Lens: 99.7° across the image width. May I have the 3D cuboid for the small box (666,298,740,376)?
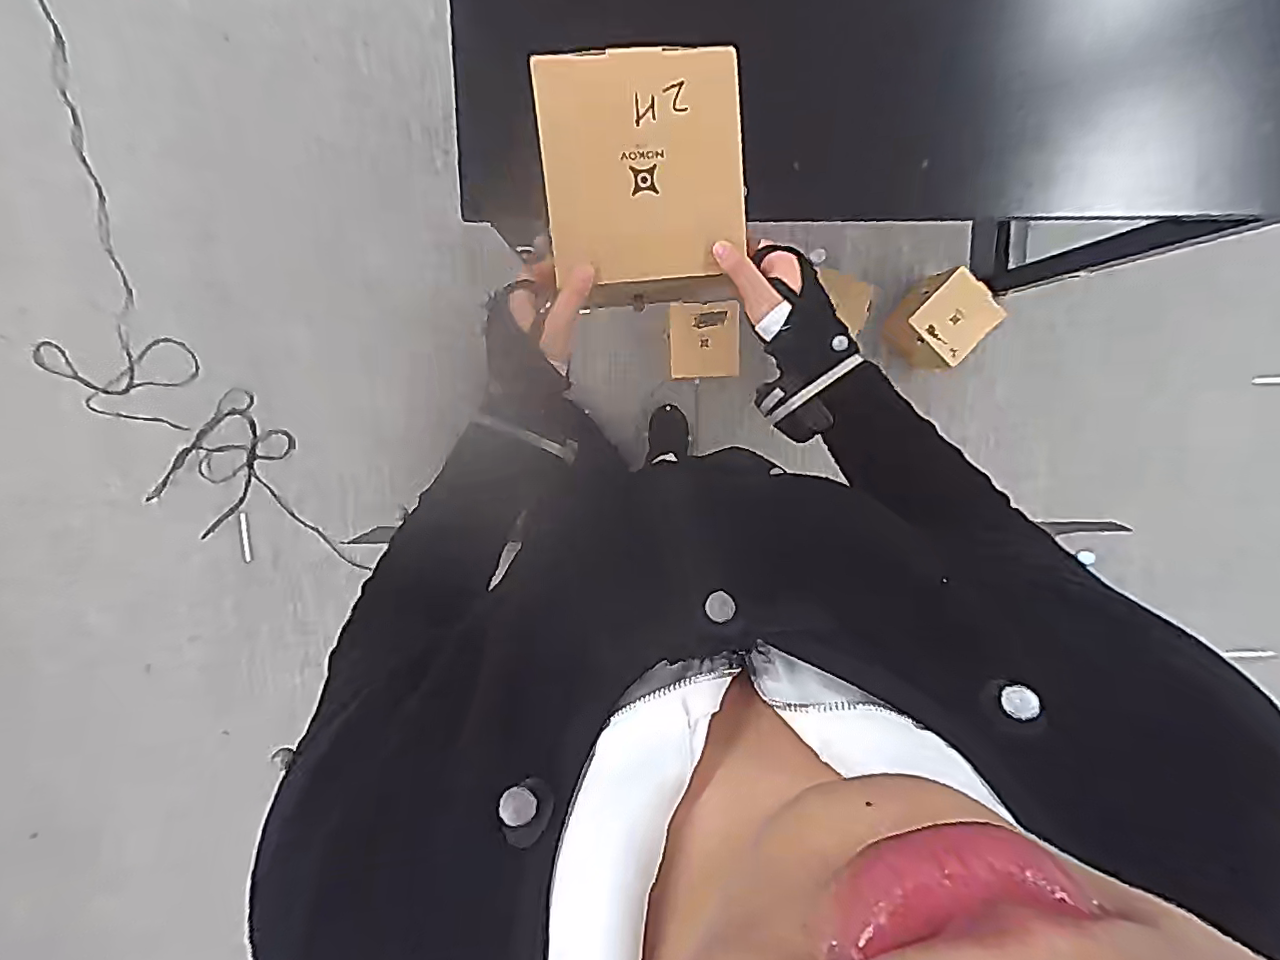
[{"bbox_3d":[0.153,-0.353,1.360,0.168,0.176,0.179,-2,101,0],"label":"small box"}]

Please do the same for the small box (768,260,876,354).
[{"bbox_3d":[0.446,-0.423,1.353,0.179,0.176,0.168,20,98,-3],"label":"small box"}]

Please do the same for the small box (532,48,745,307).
[{"bbox_3d":[-0.003,-0.268,0.522,0.168,0.176,0.179,-7,101,-4],"label":"small box"}]

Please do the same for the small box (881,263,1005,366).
[{"bbox_3d":[0.749,-0.405,1.356,0.168,0.176,0.179,42,97,-7],"label":"small box"}]
